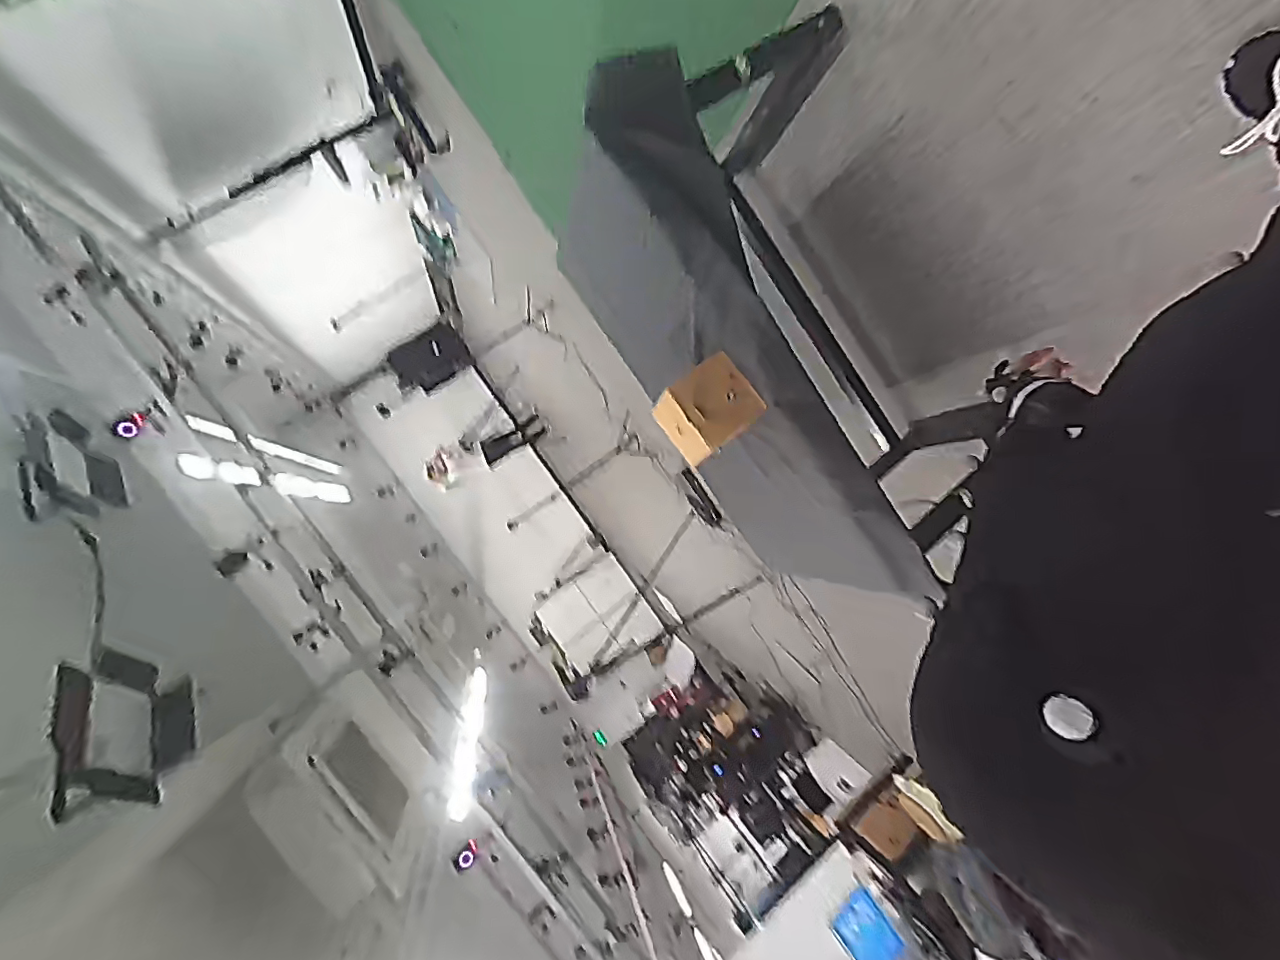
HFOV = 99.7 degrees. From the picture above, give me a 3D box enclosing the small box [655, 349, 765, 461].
[{"bbox_3d":[0.161,-0.172,1.256,0.168,0.176,0.179,53,166,3],"label":"small box"}]
